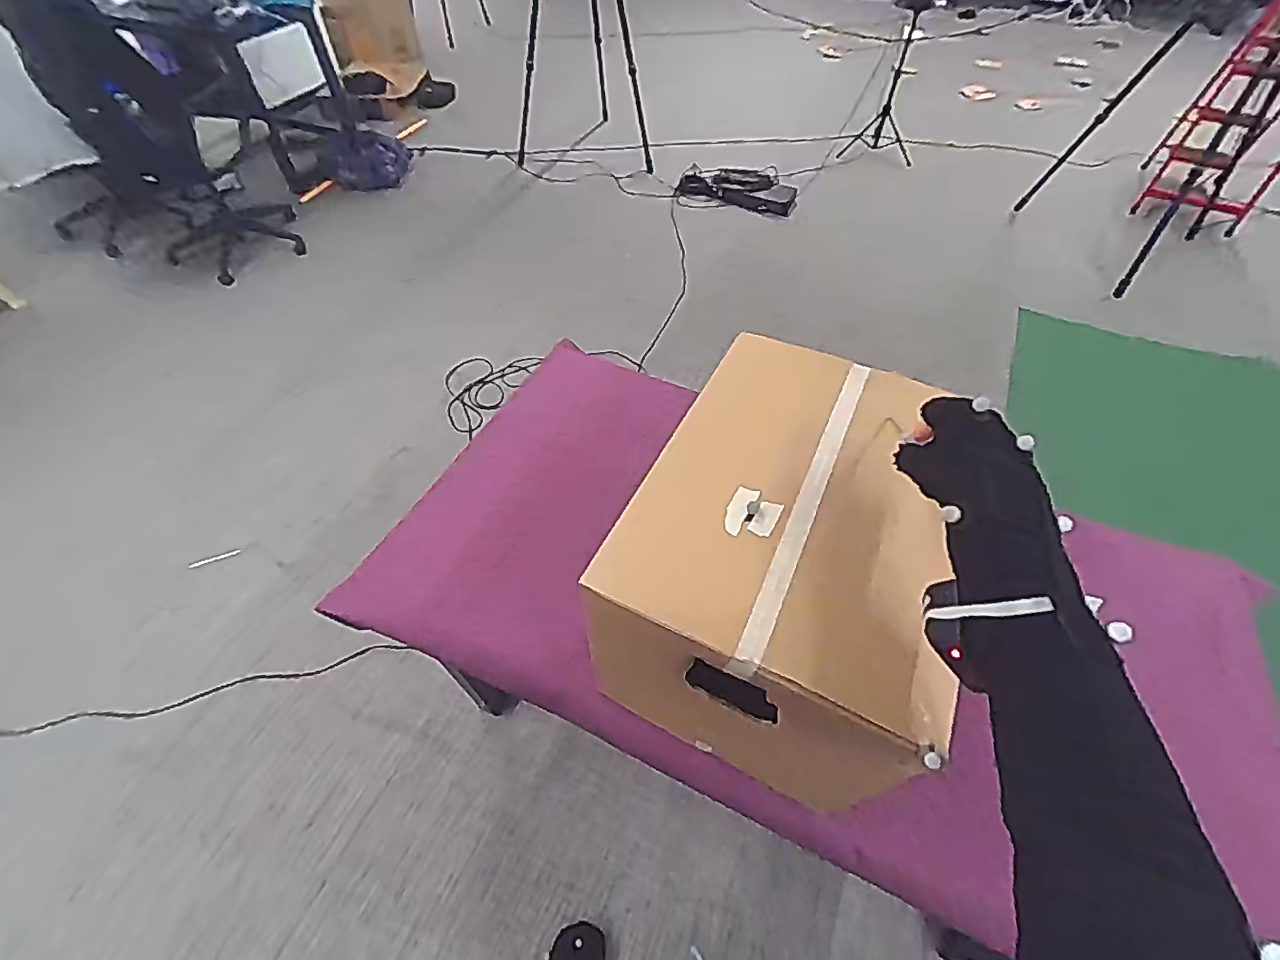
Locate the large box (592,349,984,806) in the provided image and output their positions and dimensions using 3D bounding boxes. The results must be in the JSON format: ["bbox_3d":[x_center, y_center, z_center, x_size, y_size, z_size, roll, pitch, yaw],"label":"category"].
[{"bbox_3d":[0.174,0.112,0.678,0.320,0.320,0.408,23,56,16],"label":"large box"}]
